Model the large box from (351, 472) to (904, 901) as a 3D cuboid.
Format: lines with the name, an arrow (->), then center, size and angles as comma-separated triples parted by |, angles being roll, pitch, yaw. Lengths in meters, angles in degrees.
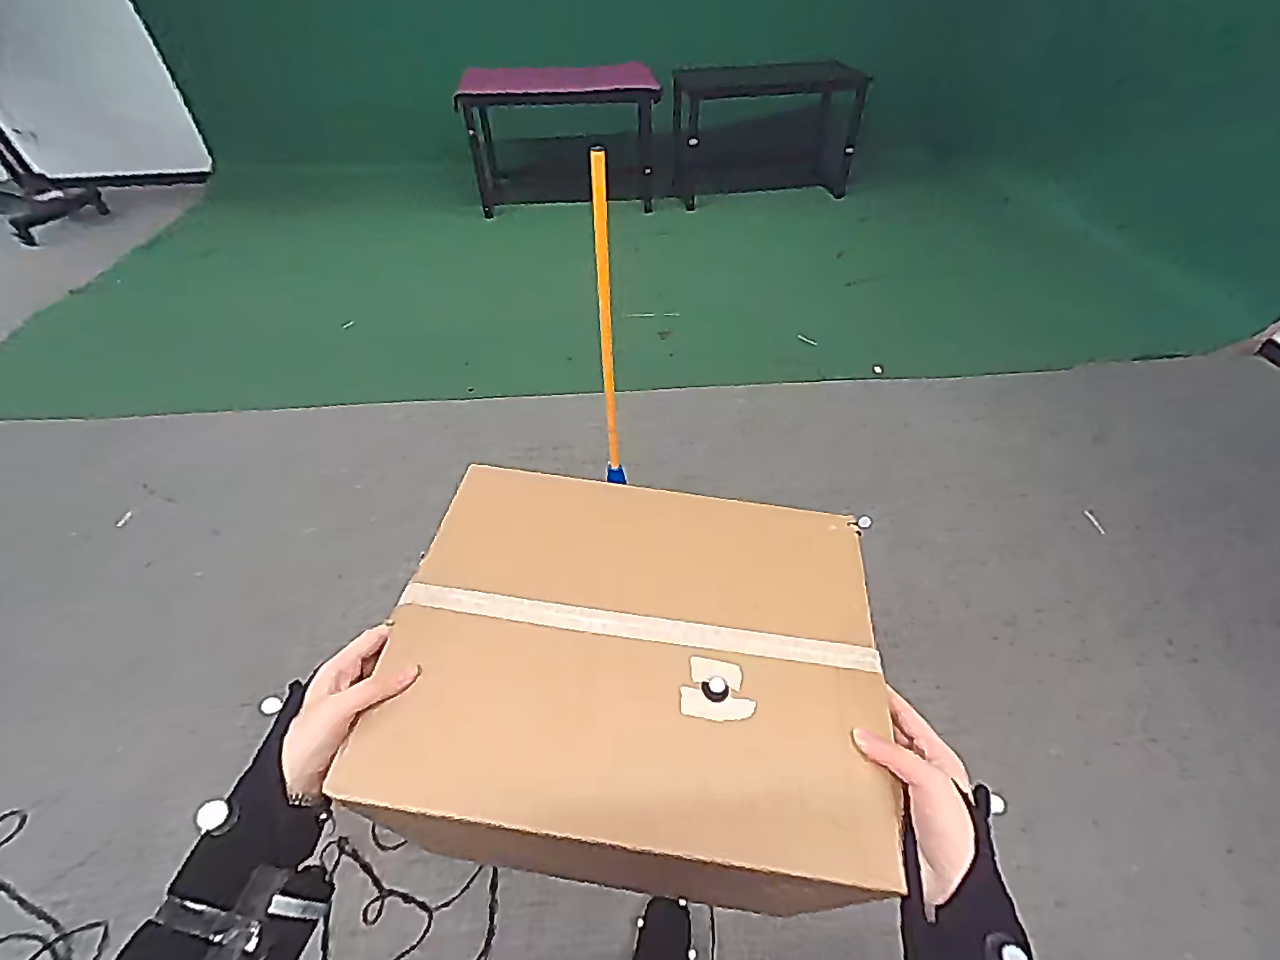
large box -> -0.007, 0.227, 0.587 | 0.408, 0.320, 0.320 | 9, 49, 2
